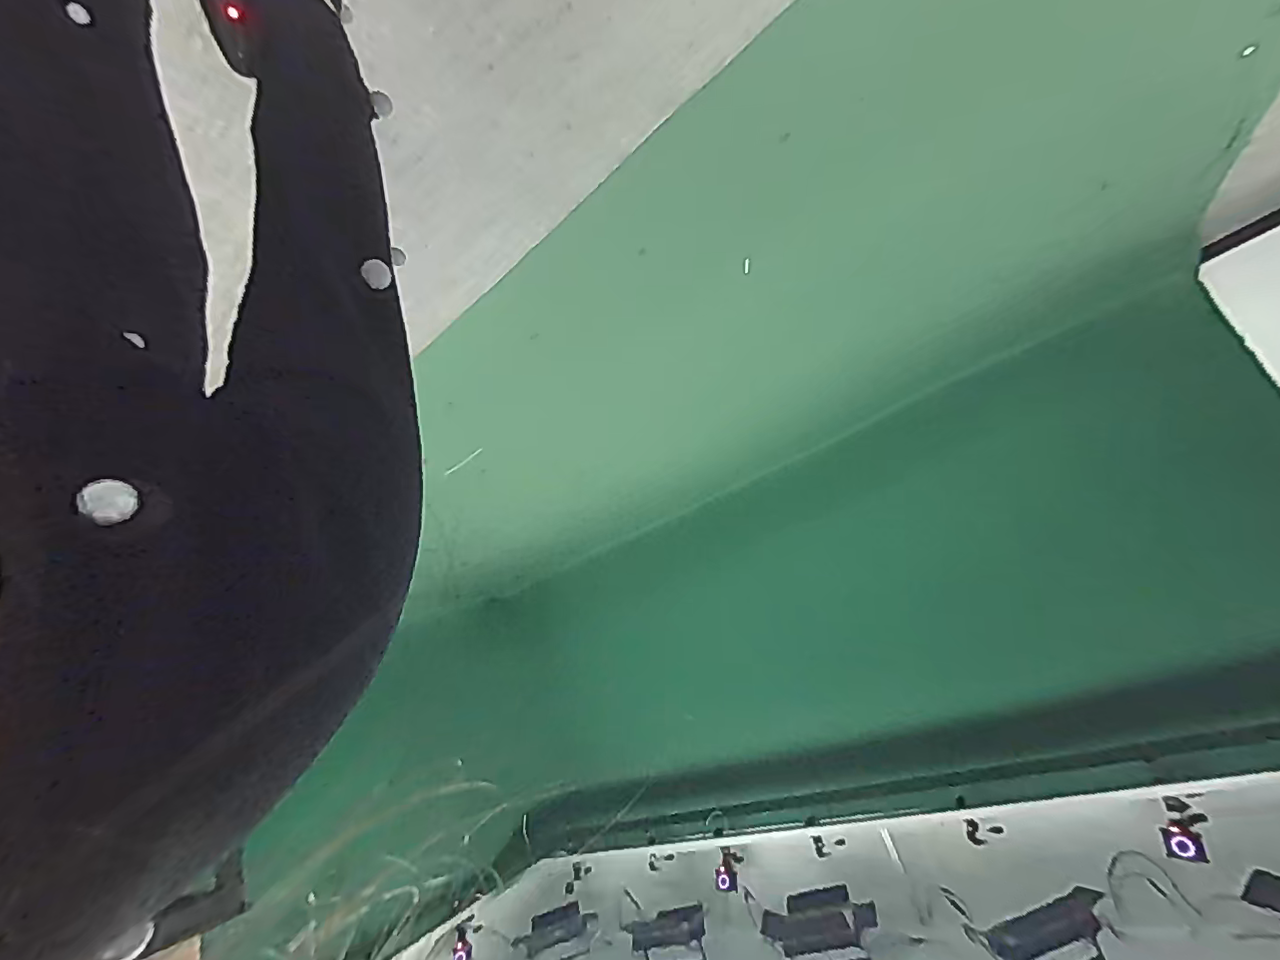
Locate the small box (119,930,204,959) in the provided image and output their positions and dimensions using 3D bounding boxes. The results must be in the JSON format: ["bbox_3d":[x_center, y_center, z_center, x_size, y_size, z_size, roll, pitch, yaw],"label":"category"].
[{"bbox_3d":[-1.244,1.292,1.384,0.179,0.176,0.168,-29,157,30],"label":"small box"}]
